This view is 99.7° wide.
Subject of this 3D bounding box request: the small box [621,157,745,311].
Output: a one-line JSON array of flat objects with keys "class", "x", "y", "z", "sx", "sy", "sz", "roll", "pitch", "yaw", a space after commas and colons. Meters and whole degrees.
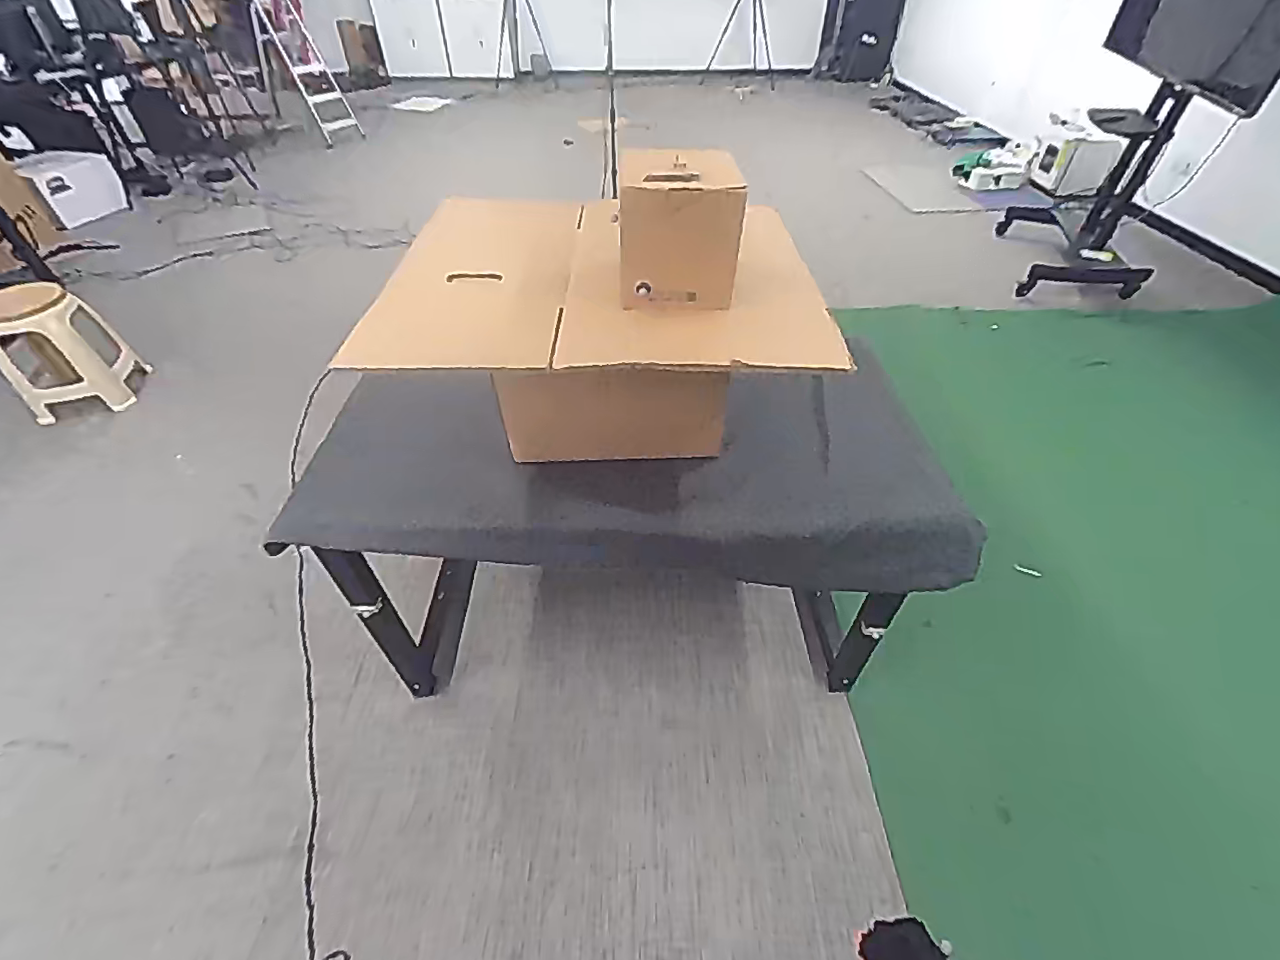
[{"class": "small box", "x": 0.055, "y": -0.368, "z": 0.814, "sx": 0.168, "sy": 0.176, "sz": 0.179, "roll": 0, "pitch": 44, "yaw": -2}]
